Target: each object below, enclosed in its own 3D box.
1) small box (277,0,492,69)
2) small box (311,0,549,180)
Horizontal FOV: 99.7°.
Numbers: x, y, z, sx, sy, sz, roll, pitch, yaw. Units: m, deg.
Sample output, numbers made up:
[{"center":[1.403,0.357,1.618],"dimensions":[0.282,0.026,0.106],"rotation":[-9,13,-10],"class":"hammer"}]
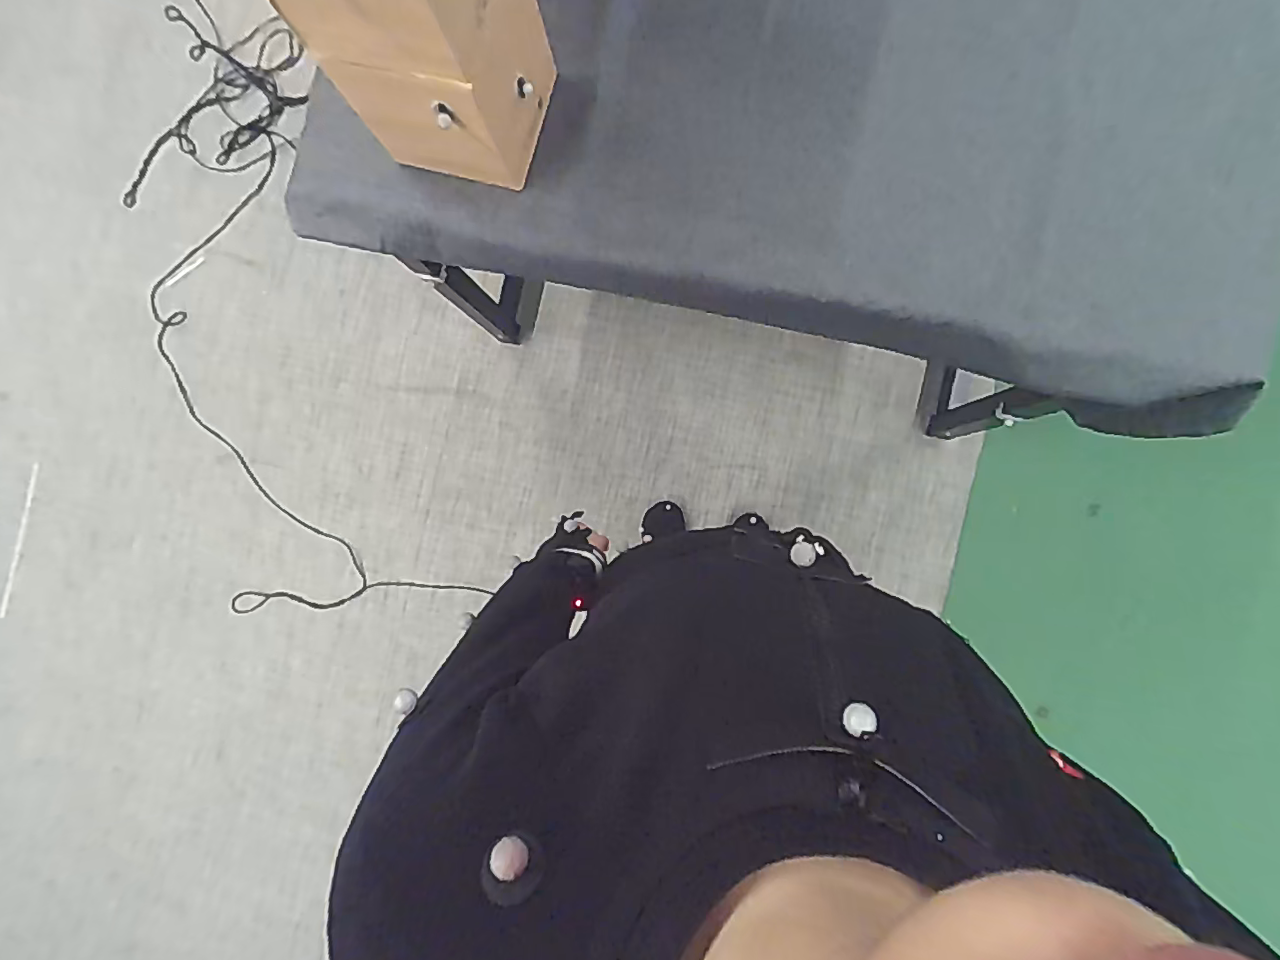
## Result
[{"center":[-0.234,-0.490,0.451],"dimensions":[0.179,0.176,0.168],"rotation":[12,88,6],"class":"small box"},{"center":[-0.218,-0.476,0.613],"dimensions":[0.179,0.176,0.168],"rotation":[16,88,5],"class":"small box"}]
